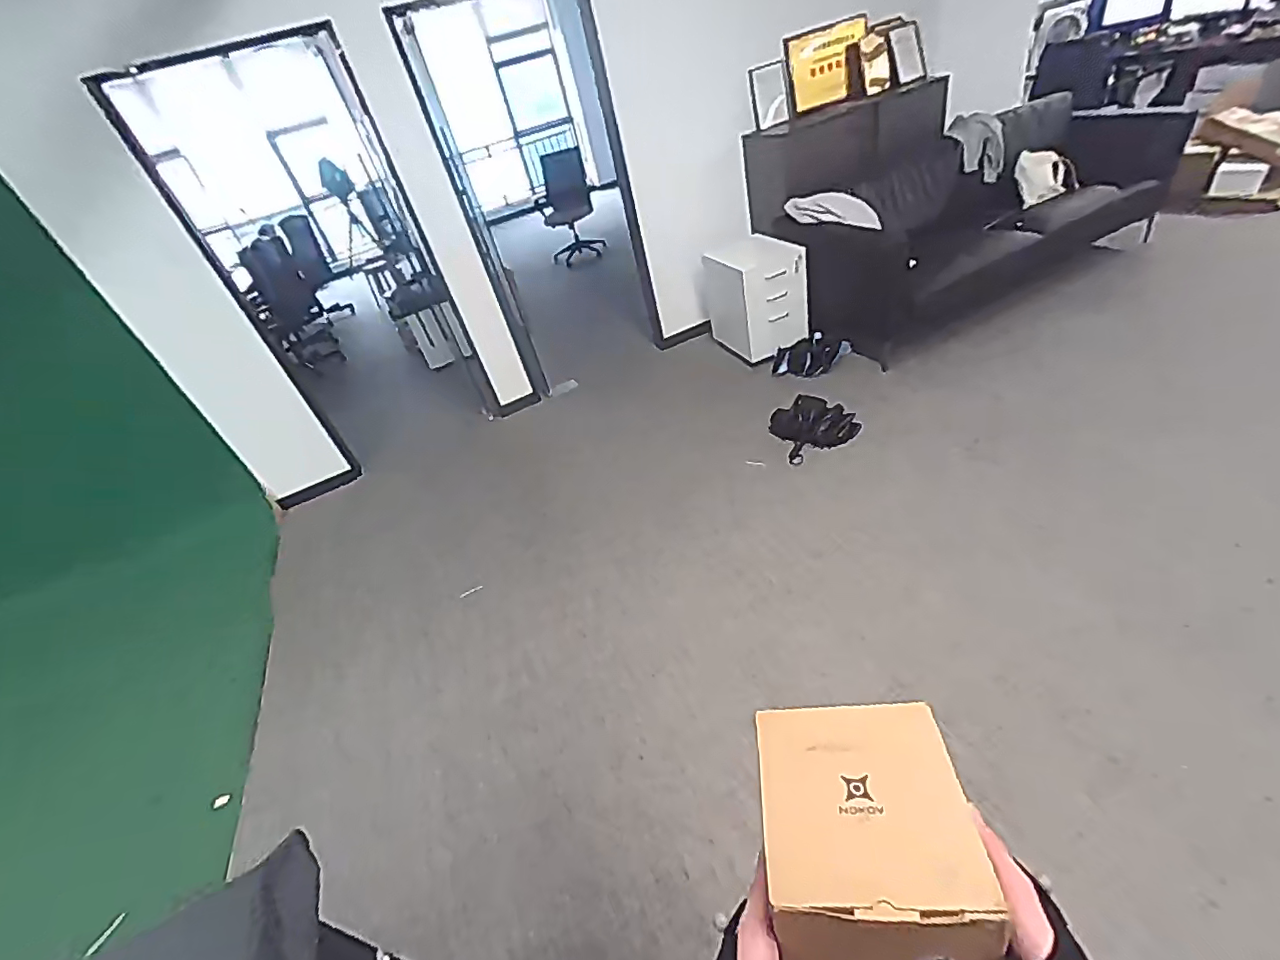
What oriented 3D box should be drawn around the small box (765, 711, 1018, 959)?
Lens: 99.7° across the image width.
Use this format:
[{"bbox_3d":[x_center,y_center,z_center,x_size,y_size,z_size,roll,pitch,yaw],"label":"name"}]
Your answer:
[{"bbox_3d":[0.210,0.342,0.492,0.168,0.176,0.179,-7,26,12],"label":"small box"}]
